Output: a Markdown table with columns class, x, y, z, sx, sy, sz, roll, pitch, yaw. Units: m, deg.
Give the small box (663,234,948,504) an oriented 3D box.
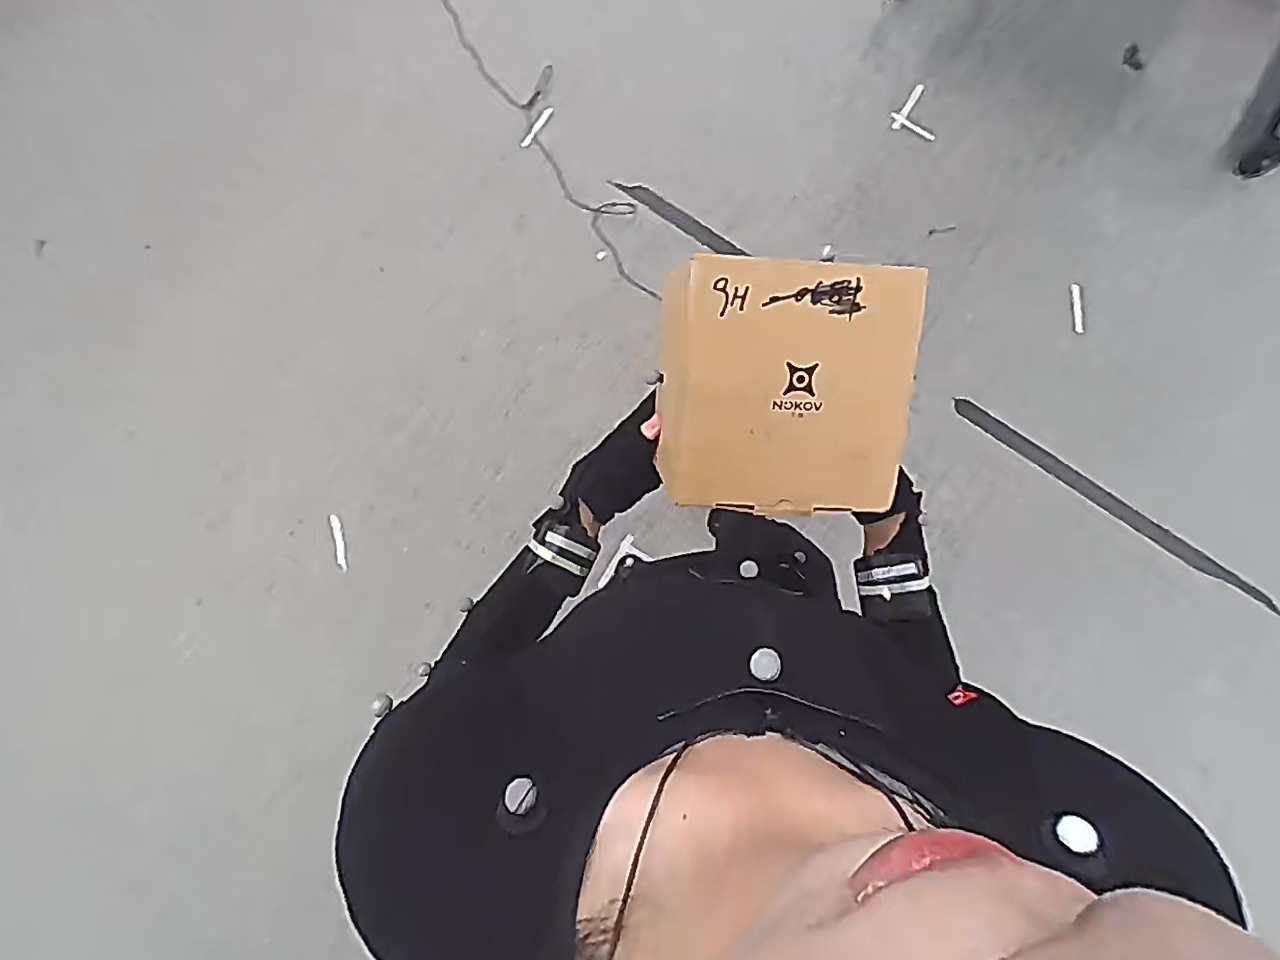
| class | x | y | z | sx | sy | sz | roll | pitch | yaw |
| --- | --- | --- | --- | --- | --- | --- | --- | --- | --- |
| small box | 0.113 | -0.091 | 0.450 | 0.168 | 0.176 | 0.179 | 3 | 104 | -5 |
